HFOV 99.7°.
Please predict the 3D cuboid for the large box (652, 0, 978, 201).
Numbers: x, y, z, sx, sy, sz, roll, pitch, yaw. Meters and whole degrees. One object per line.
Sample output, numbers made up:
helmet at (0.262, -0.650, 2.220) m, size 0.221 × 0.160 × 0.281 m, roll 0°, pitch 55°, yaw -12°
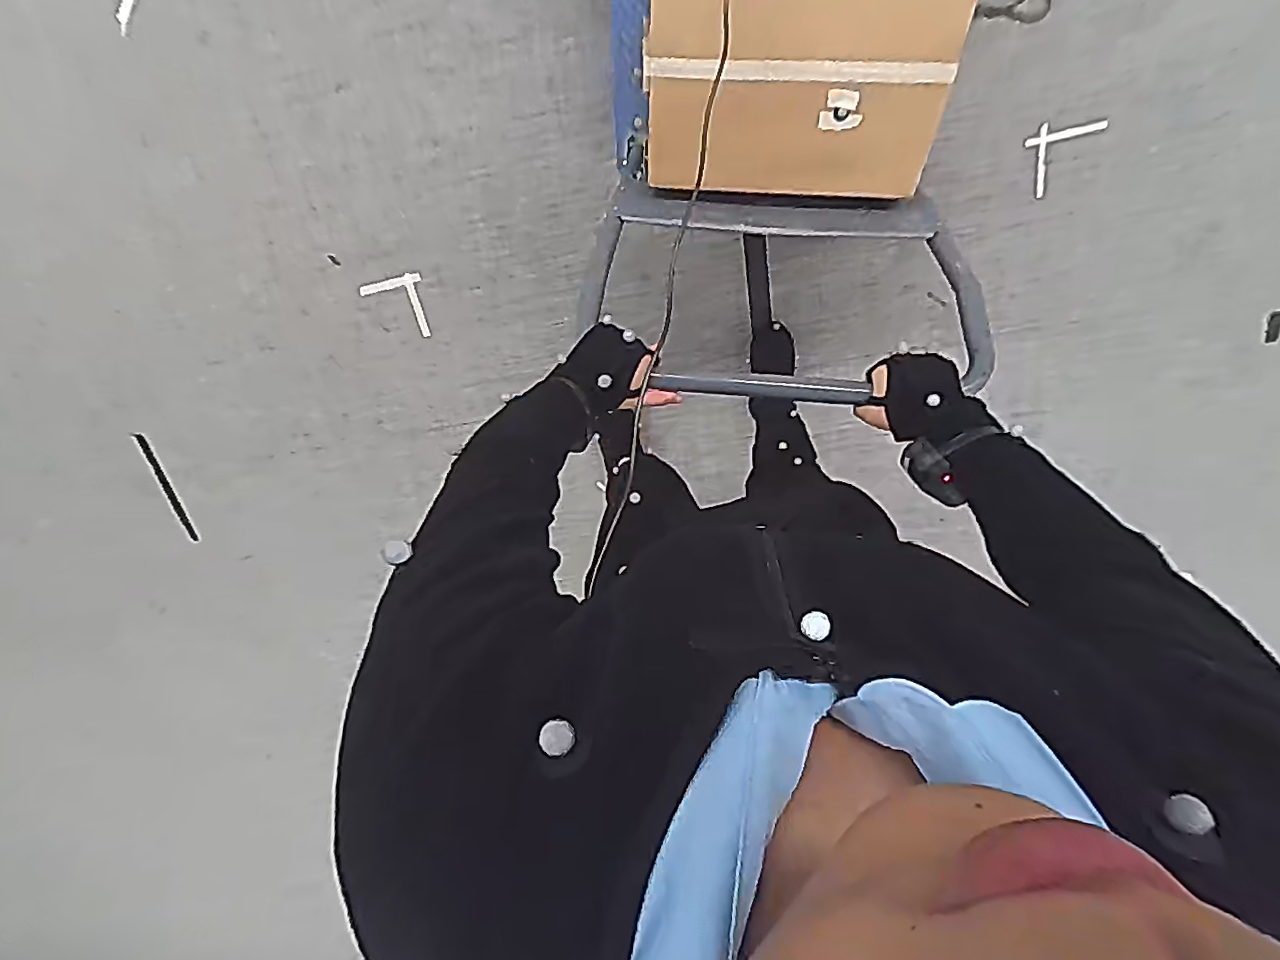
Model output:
large box at (0.228, -0.647, 0.831) m, size 0.408 × 0.320 × 0.320 m, roll 4°, pitch 136°, yaw 4°
